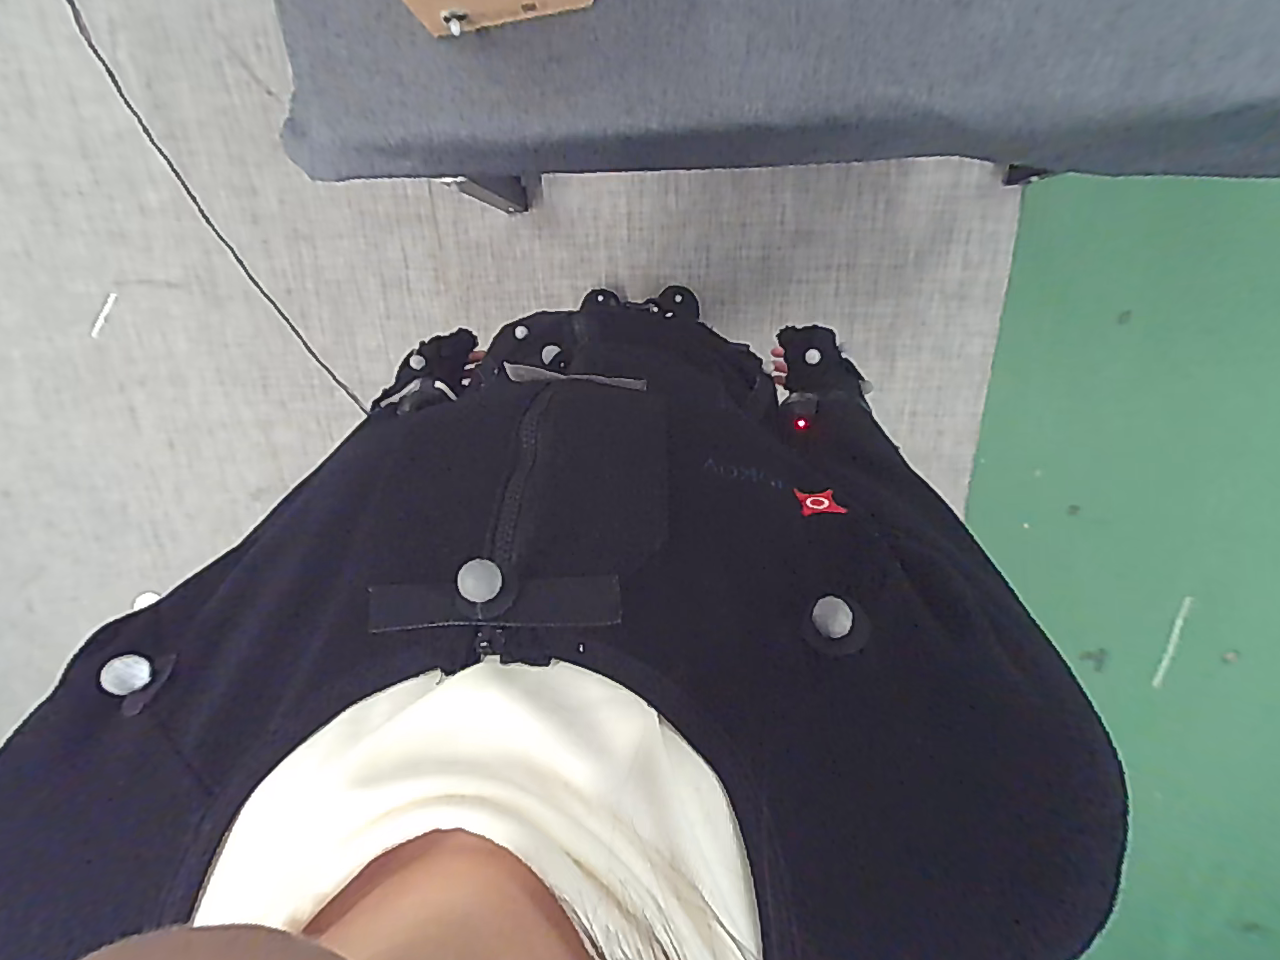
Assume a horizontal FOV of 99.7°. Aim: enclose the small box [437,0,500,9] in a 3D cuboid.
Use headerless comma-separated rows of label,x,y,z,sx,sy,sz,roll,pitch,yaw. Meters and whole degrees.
small box,-0.135,-0.519,0.428,0.168,0.176,0.179,-7,108,5
